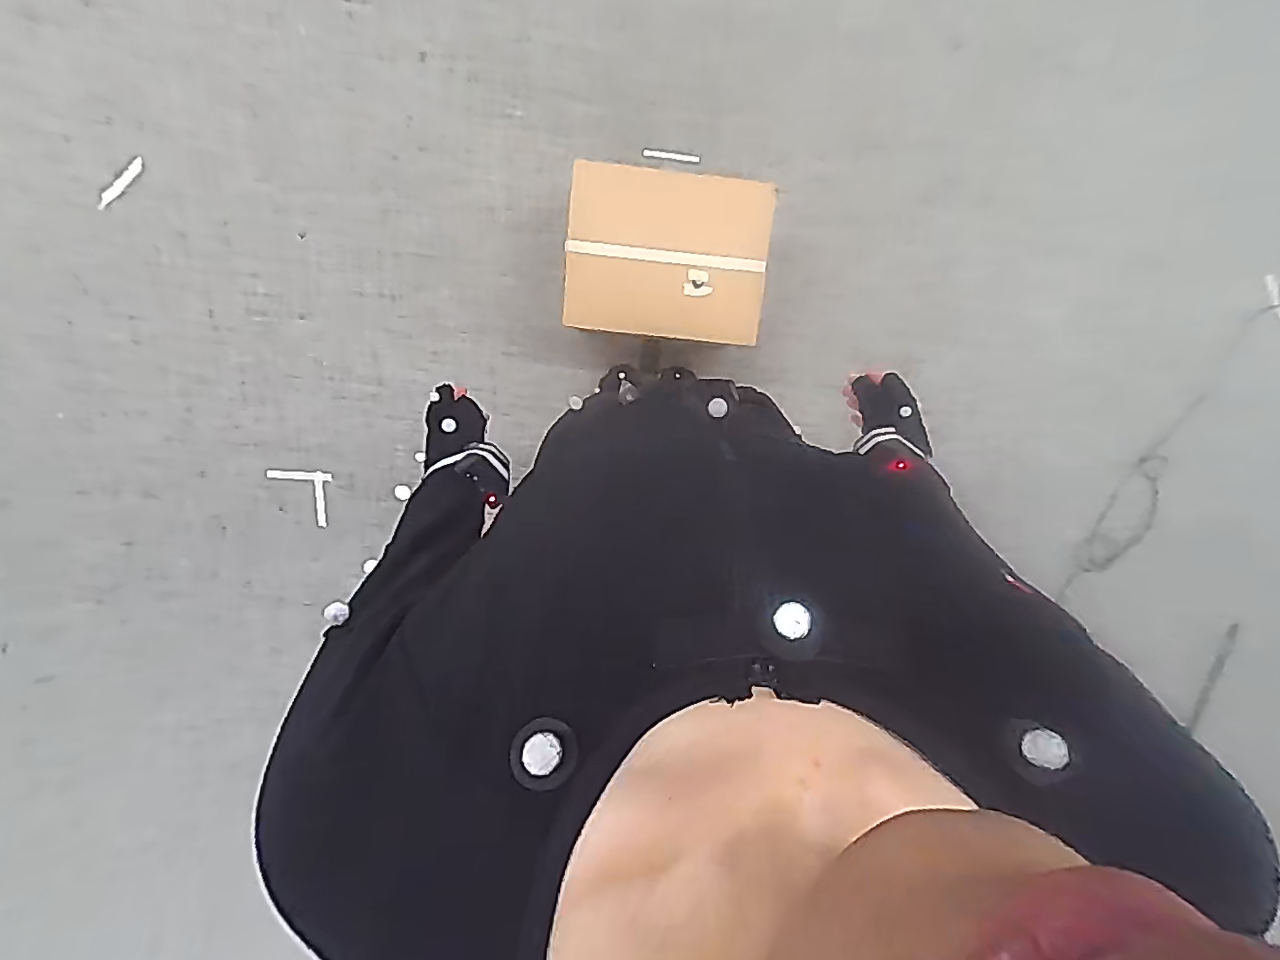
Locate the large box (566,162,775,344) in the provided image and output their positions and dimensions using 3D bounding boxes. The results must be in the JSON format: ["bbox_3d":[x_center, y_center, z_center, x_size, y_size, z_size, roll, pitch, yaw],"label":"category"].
[{"bbox_3d":[0.048,-0.484,1.229,0.408,0.320,0.320,5,104,-4],"label":"large box"}]
